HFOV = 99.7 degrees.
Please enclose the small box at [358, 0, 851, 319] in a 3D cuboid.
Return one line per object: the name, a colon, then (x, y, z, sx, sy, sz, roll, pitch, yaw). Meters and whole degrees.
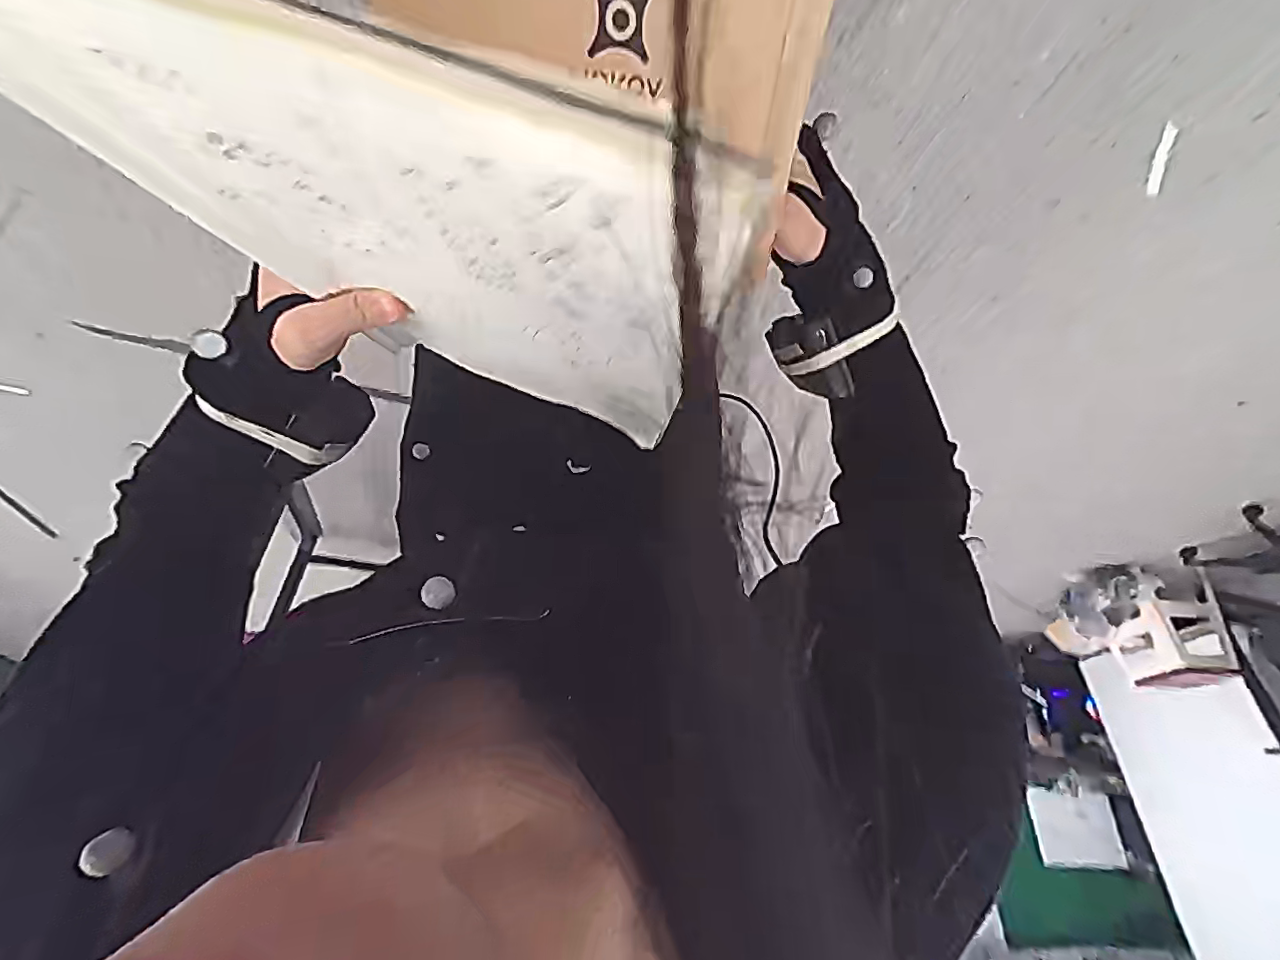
small box: (-0.025, -0.195, 0.253, 0.168, 0.176, 0.179, -2, 131, -13)
